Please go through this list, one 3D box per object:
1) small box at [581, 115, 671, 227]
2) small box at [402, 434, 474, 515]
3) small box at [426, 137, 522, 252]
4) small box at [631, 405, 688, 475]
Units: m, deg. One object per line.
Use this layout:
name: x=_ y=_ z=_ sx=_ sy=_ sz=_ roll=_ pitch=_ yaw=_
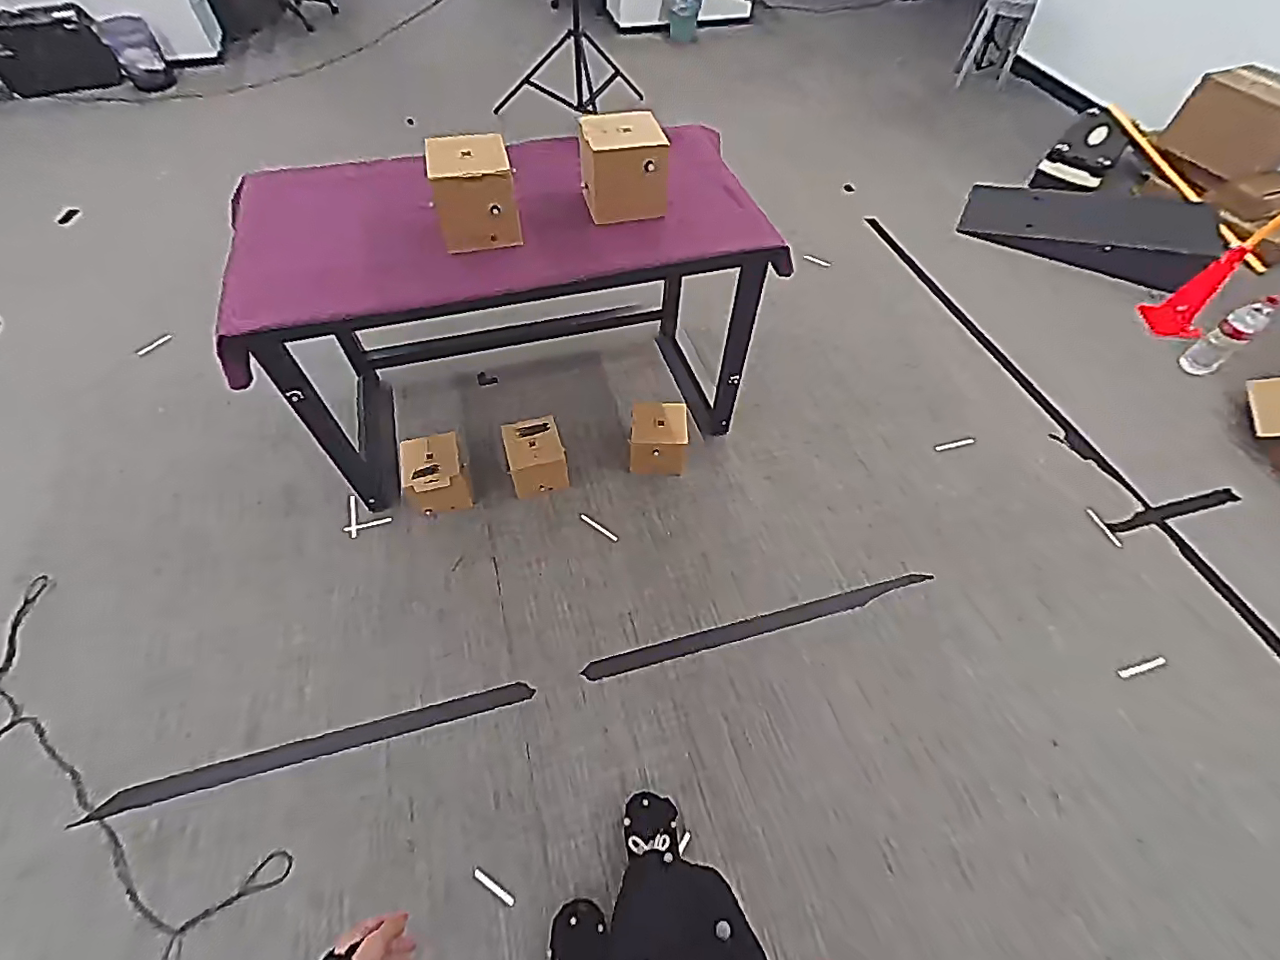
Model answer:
small box: x=-0.037 y=-0.724 z=1.271 sx=0.179 sy=0.176 sz=0.168 roll=-12 pitch=56 yaw=-9
small box: x=-0.614 y=-0.010 z=1.651 sx=0.168 sy=0.176 sz=0.179 roll=-12 pitch=56 yaw=-10
small box: x=-0.362 y=-0.624 z=1.195 sx=0.168 sy=0.176 sz=0.179 roll=-11 pitch=55 yaw=-11
small box: x=0.060 y=-0.126 z=1.754 sx=0.179 sy=0.176 sz=0.168 roll=0 pitch=57 yaw=1
